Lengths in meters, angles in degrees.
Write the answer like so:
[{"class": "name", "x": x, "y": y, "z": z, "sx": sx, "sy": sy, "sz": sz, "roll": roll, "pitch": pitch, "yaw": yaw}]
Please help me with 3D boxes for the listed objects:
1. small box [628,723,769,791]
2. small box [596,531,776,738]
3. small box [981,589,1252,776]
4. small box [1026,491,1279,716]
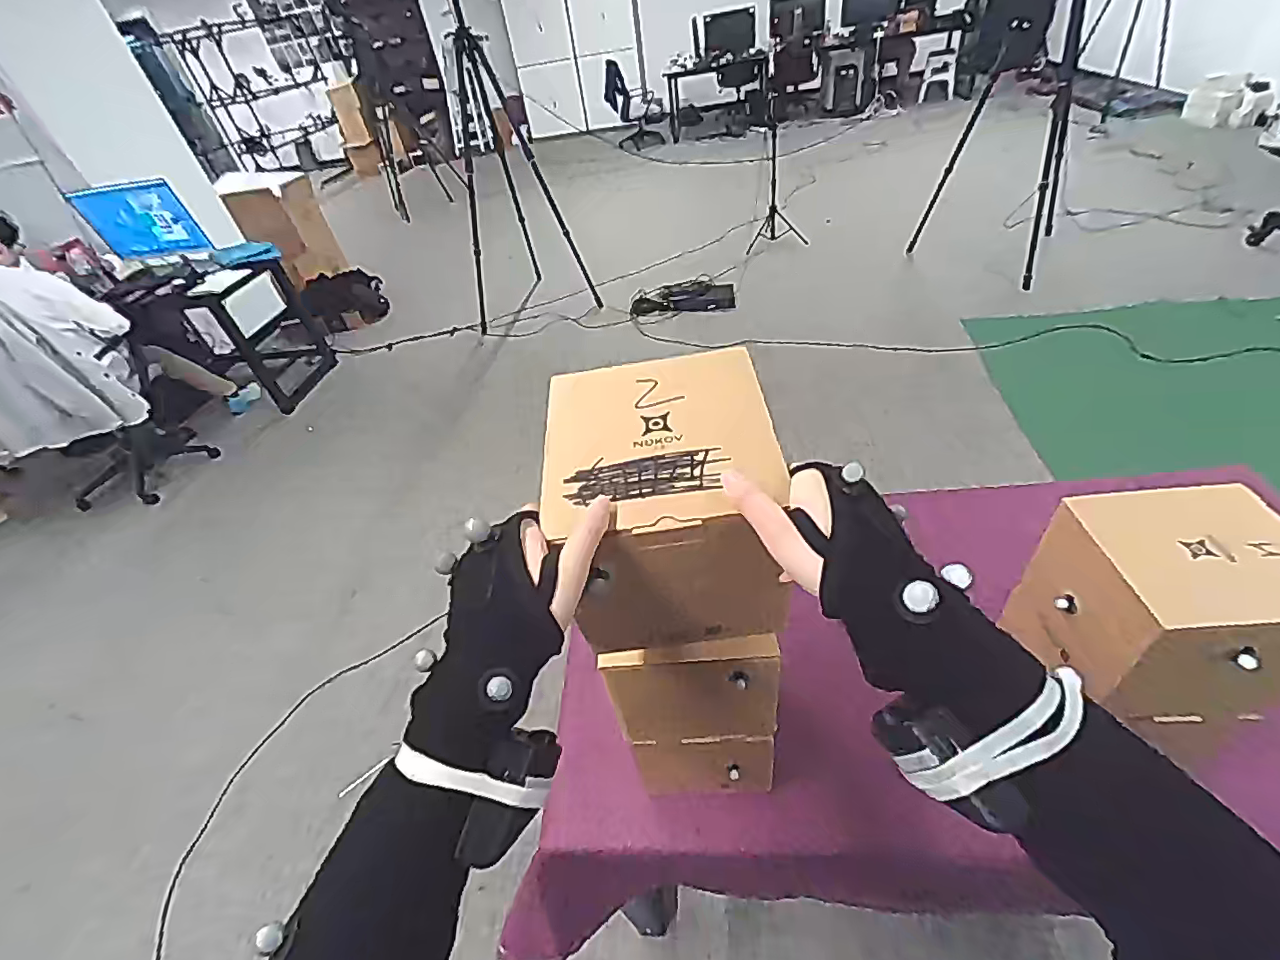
[{"class": "small box", "x": 0.080, "y": 0.301, "z": 0.730, "sx": 0.168, "sy": 0.176, "sz": 0.179, "roll": -4, "pitch": 41, "yaw": 6}, {"class": "small box", "x": 0.054, "y": 0.181, "z": 0.623, "sx": 0.179, "sy": 0.176, "sz": 0.168, "roll": -5, "pitch": 42, "yaw": 4}, {"class": "small box", "x": 0.565, "y": 0.253, "z": 0.678, "sx": 0.168, "sy": 0.176, "sz": 0.179, "roll": -4, "pitch": 42, "yaw": 8}, {"class": "small box", "x": 0.543, "y": 0.132, "z": 0.567, "sx": 0.179, "sy": 0.176, "sz": 0.168, "roll": -4, "pitch": 42, "yaw": 7}]
